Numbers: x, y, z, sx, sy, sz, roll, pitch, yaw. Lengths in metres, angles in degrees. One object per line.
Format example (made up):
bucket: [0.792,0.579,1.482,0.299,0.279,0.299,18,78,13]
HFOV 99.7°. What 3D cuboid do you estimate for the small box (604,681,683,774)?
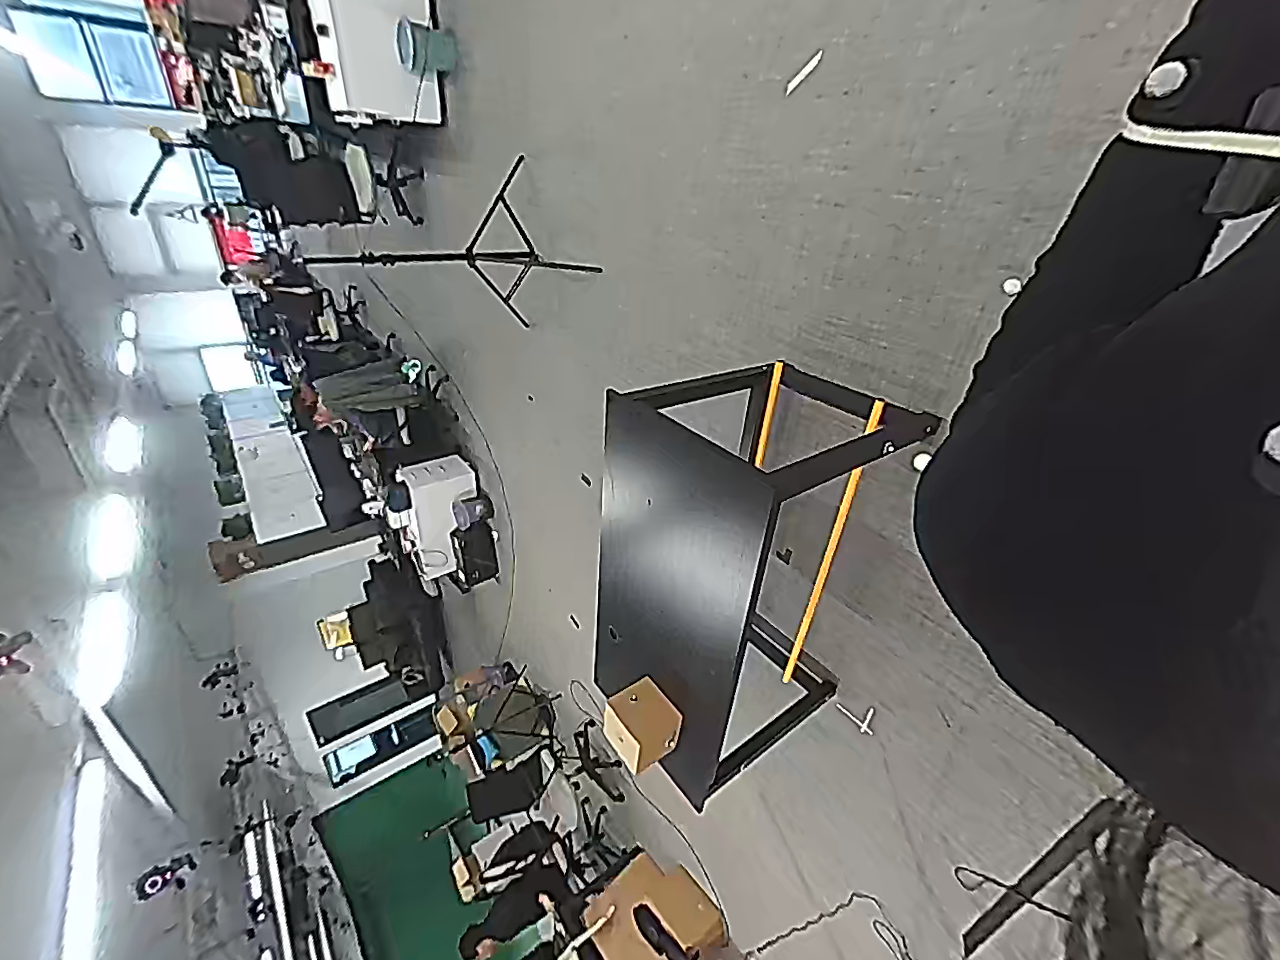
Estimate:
small box: [0.008,0.749,1.668,0.179,0.176,0.168,37,135,40]
